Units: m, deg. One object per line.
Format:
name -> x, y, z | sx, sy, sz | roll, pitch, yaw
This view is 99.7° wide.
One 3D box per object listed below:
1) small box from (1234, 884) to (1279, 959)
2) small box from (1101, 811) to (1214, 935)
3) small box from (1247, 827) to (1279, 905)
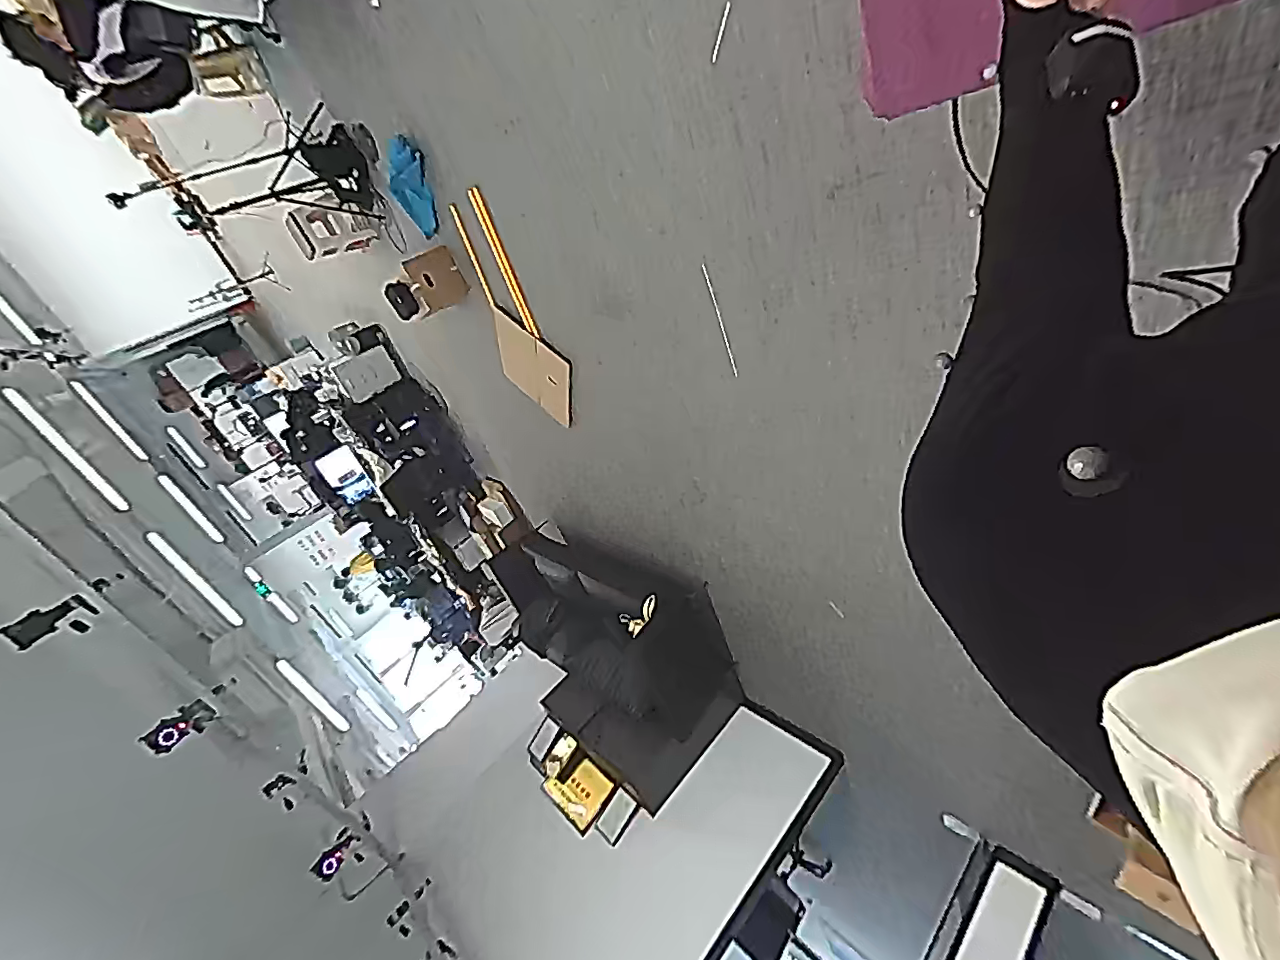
small box -> 1.510, 1.074, 1.223 | 0.168, 0.176, 0.179 | 23, 141, 42
small box -> 1.331, 1.002, 1.392 | 0.168, 0.176, 0.179 | 22, 141, 43
small box -> 1.628, 0.988, 1.297 | 0.179, 0.176, 0.168 | 23, 141, 42
